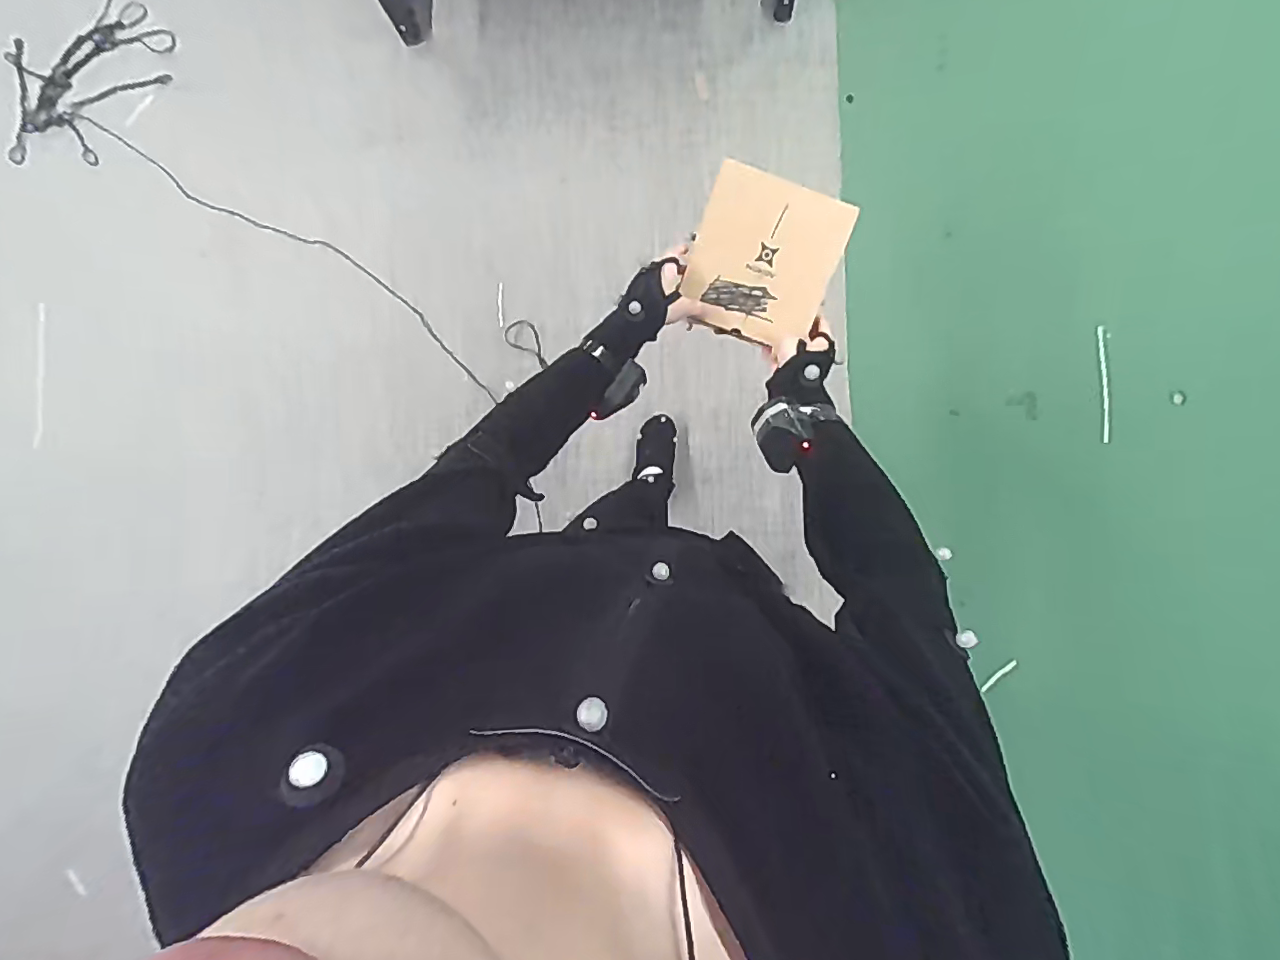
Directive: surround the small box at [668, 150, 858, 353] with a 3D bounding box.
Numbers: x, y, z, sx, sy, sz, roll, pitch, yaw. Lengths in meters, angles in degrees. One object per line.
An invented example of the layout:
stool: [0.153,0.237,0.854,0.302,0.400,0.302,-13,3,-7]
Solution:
small box: [0.143,-0.277,0.694,0.168,0.176,0.179,20,105,-3]
